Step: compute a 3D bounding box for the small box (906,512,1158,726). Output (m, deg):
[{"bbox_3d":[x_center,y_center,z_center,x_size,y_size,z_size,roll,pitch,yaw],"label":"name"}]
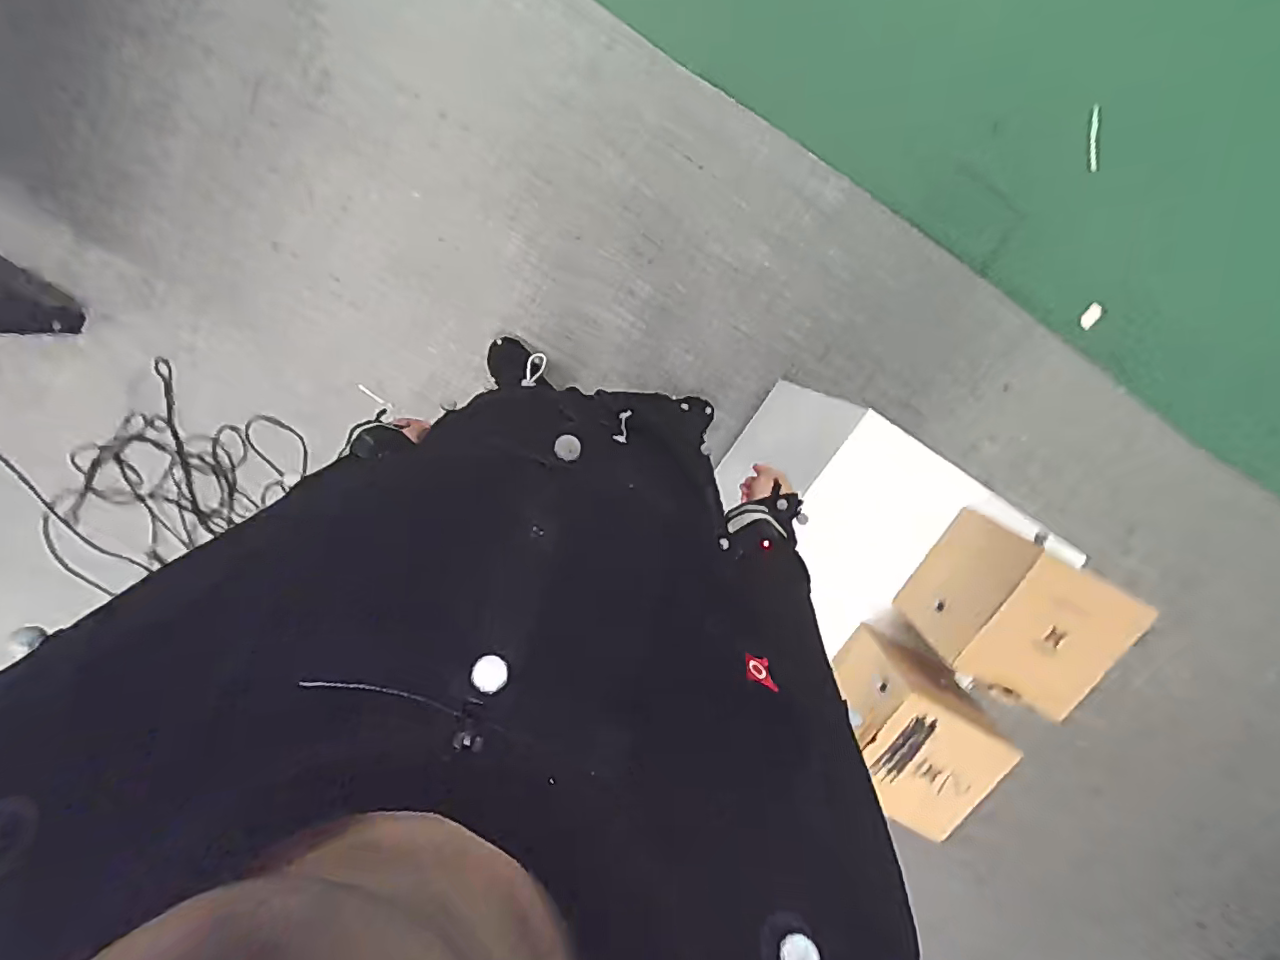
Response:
[{"bbox_3d":[0.483,0.170,0.705,0.168,0.176,0.179,28,103,-6],"label":"small box"}]
